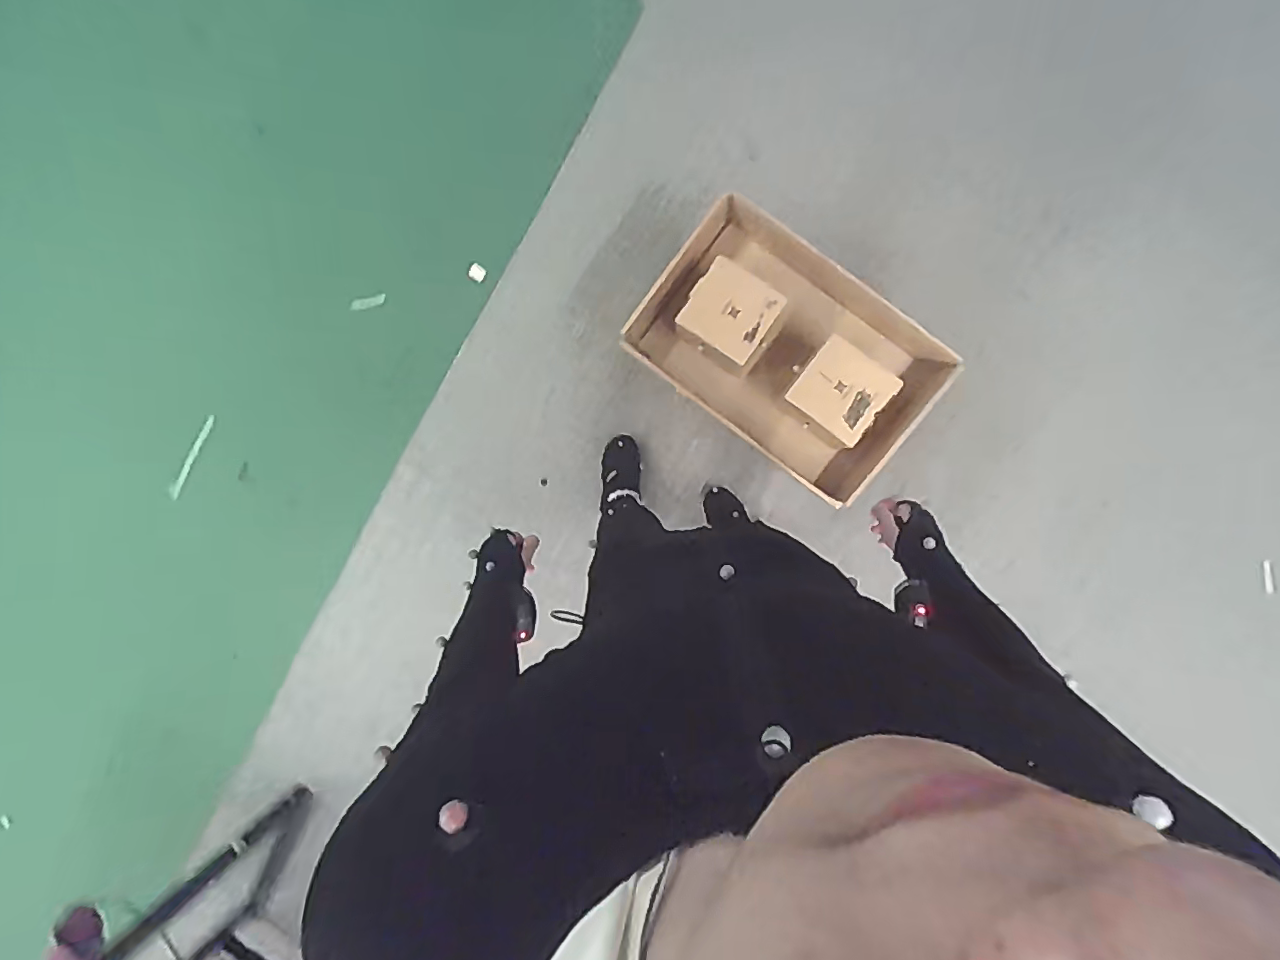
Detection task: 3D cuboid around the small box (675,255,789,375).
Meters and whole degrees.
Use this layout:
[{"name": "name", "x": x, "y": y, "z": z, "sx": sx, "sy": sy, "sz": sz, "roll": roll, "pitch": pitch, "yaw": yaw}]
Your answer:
[{"name": "small box", "x": 0.195, "y": -0.348, "z": 1.179, "sx": 0.179, "sy": 0.176, "sz": 0.168, "roll": 36, "pitch": 96, "yaw": 4}]
